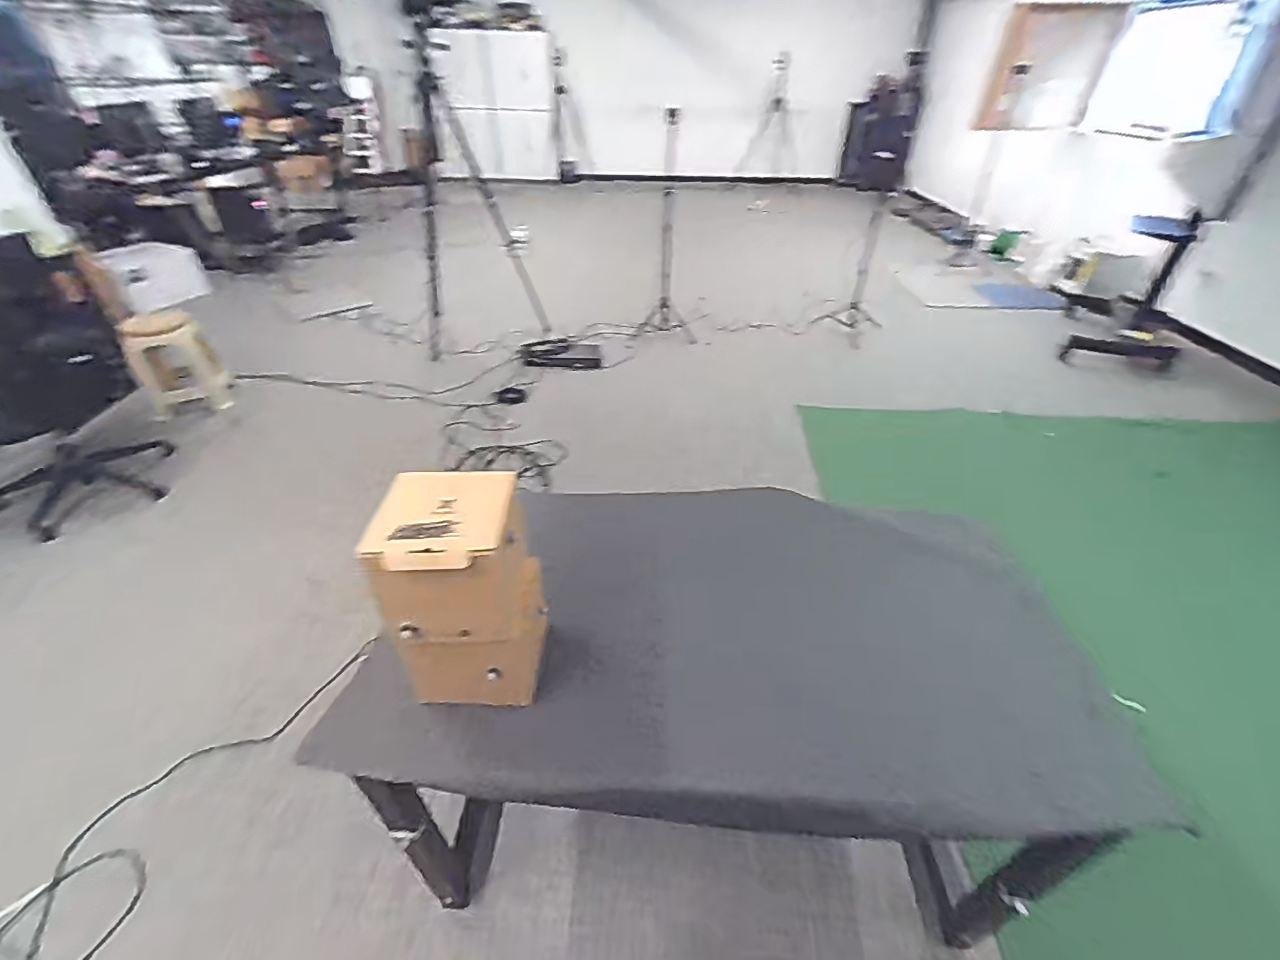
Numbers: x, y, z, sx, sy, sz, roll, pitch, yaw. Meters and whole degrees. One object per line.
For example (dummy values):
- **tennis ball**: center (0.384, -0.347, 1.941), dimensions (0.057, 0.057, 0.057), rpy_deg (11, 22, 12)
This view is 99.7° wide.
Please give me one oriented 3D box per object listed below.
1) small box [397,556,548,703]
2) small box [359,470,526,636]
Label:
- **small box**: center (-0.249, 0.235, 0.859), dimensions (0.179, 0.176, 0.168), rpy_deg (1, 36, 2)
- **small box**: center (-0.258, 0.104, 0.760), dimensions (0.168, 0.176, 0.179), rpy_deg (-1, 35, -3)
